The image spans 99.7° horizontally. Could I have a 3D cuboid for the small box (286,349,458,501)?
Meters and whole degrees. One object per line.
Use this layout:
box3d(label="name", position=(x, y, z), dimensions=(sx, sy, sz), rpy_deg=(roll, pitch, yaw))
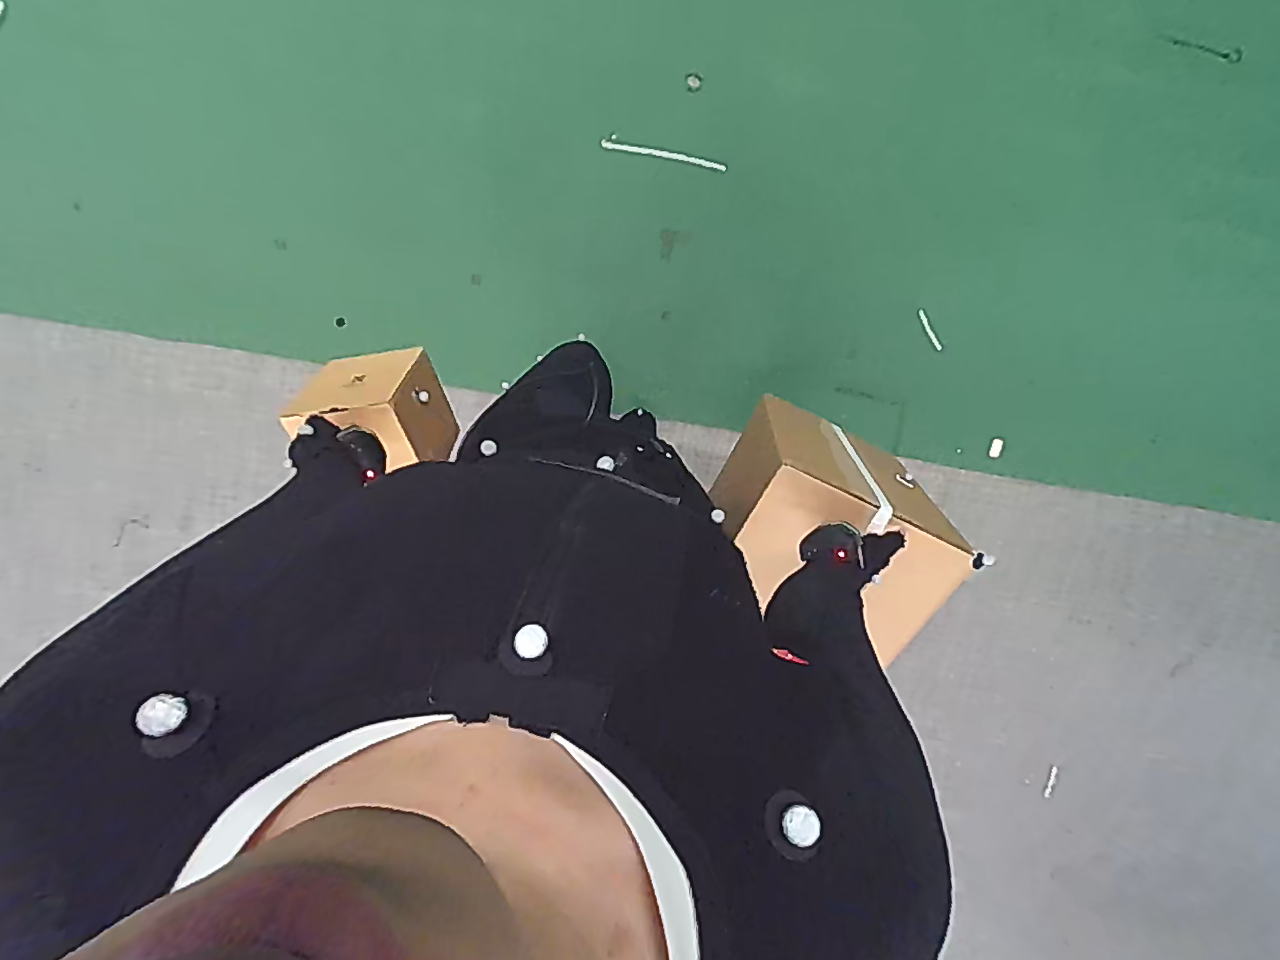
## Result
box3d(label="small box", position=(-0.414, -0.089, 0.874), dimensions=(0.168, 0.179, 0.176), rpy_deg=(-7, 129, 5))
